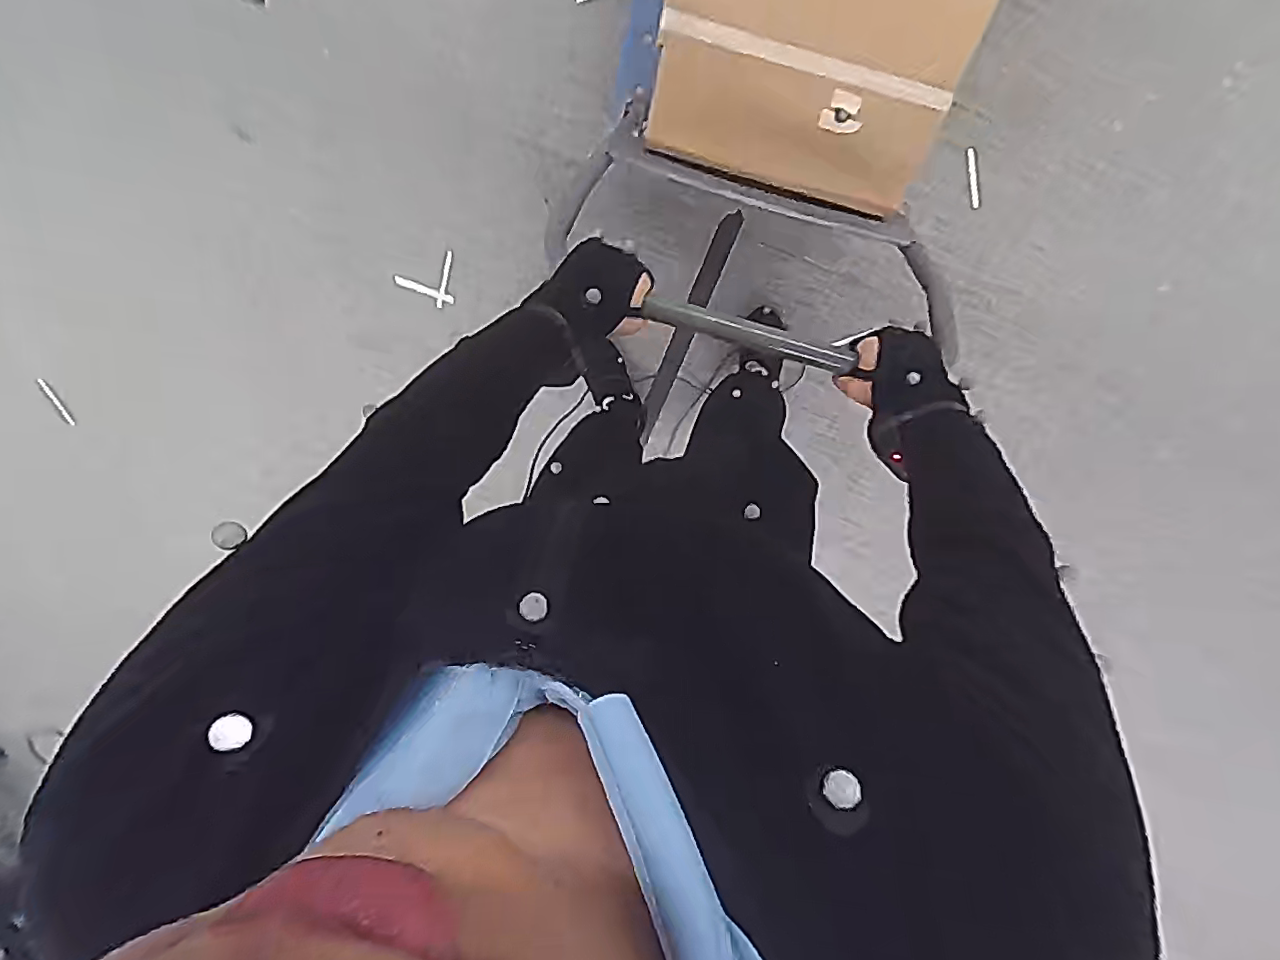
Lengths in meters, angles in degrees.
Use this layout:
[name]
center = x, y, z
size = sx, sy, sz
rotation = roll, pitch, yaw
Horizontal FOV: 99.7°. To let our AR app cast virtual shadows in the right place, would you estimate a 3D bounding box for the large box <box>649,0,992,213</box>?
[large box]
center = 0.251, -0.672, 0.868
size = 0.408, 0.320, 0.320
rotation = 14, 130, -3
